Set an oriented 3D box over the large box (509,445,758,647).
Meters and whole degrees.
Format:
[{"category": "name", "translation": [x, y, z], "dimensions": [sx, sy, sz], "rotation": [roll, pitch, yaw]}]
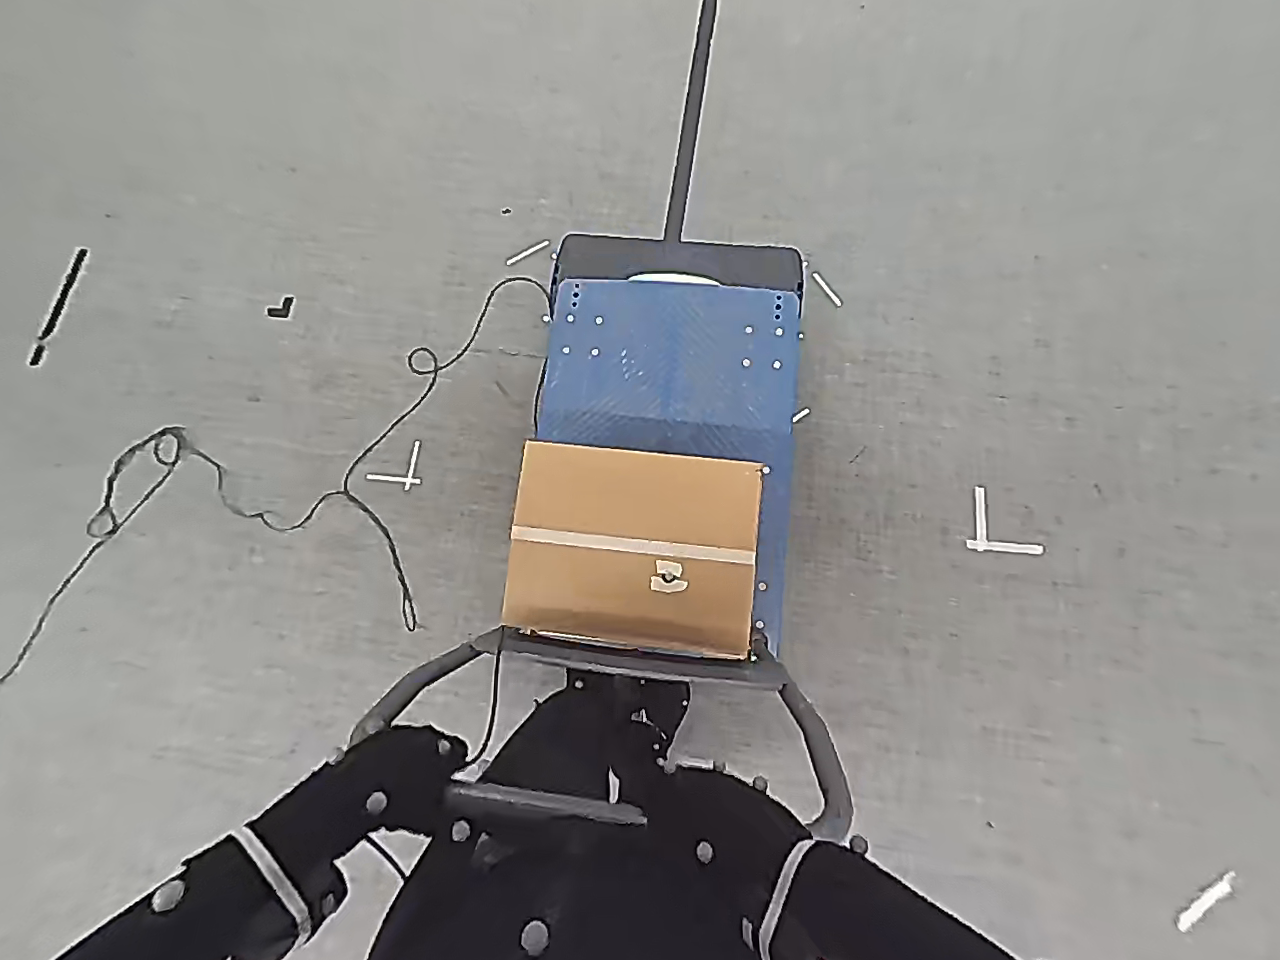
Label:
[{"category": "large box", "translation": [-0.004, 0.130, 1.059], "dimensions": [0.408, 0.320, 0.320], "rotation": [6, 82, 4]}]
